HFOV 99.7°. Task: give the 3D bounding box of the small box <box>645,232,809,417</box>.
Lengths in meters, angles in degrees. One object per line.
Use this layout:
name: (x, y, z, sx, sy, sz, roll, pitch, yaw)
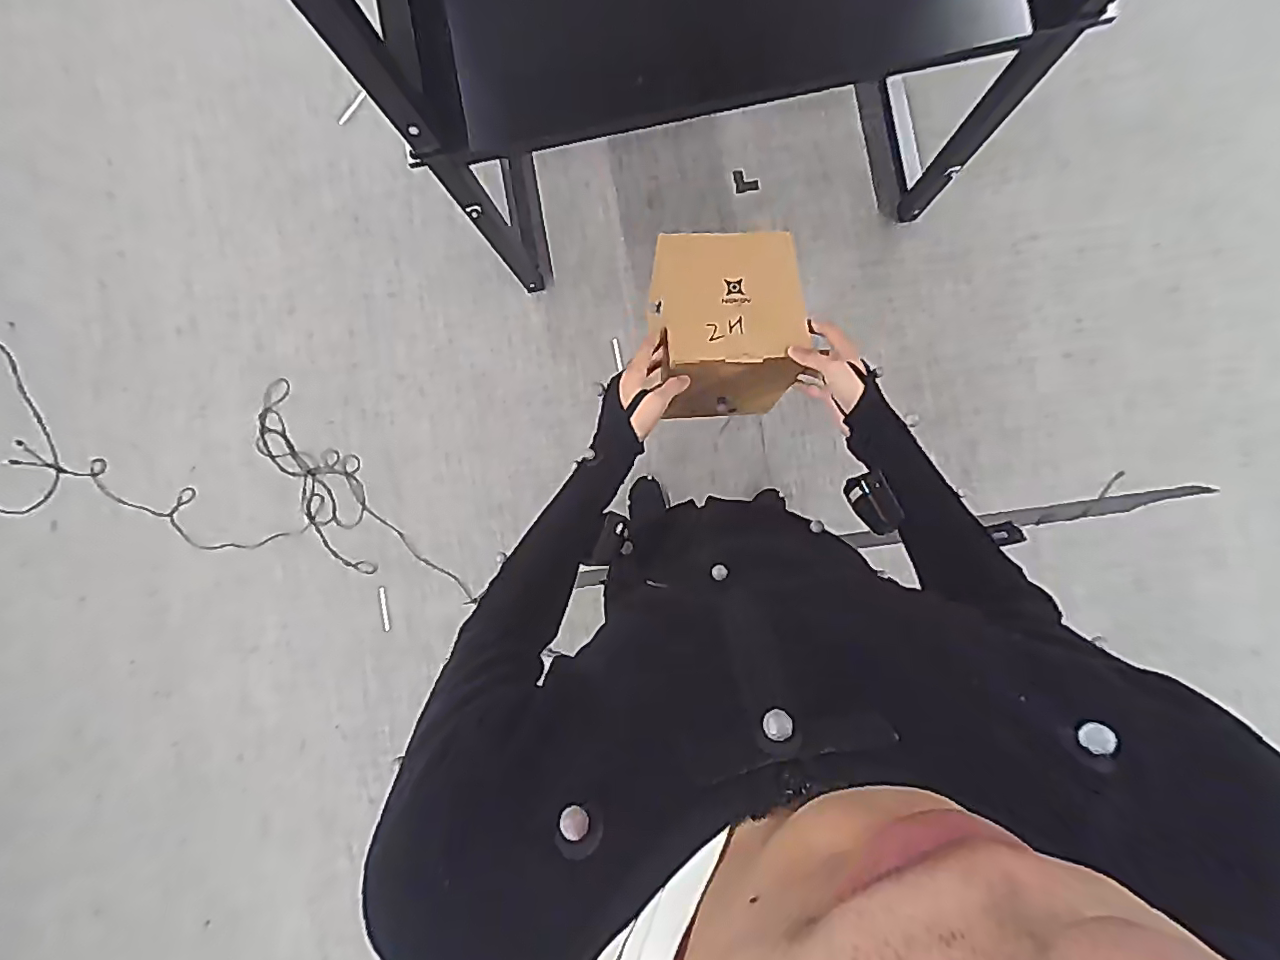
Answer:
small box: (0.101, -0.197, 0.713, 0.168, 0.176, 0.179, -4, 74, -6)
